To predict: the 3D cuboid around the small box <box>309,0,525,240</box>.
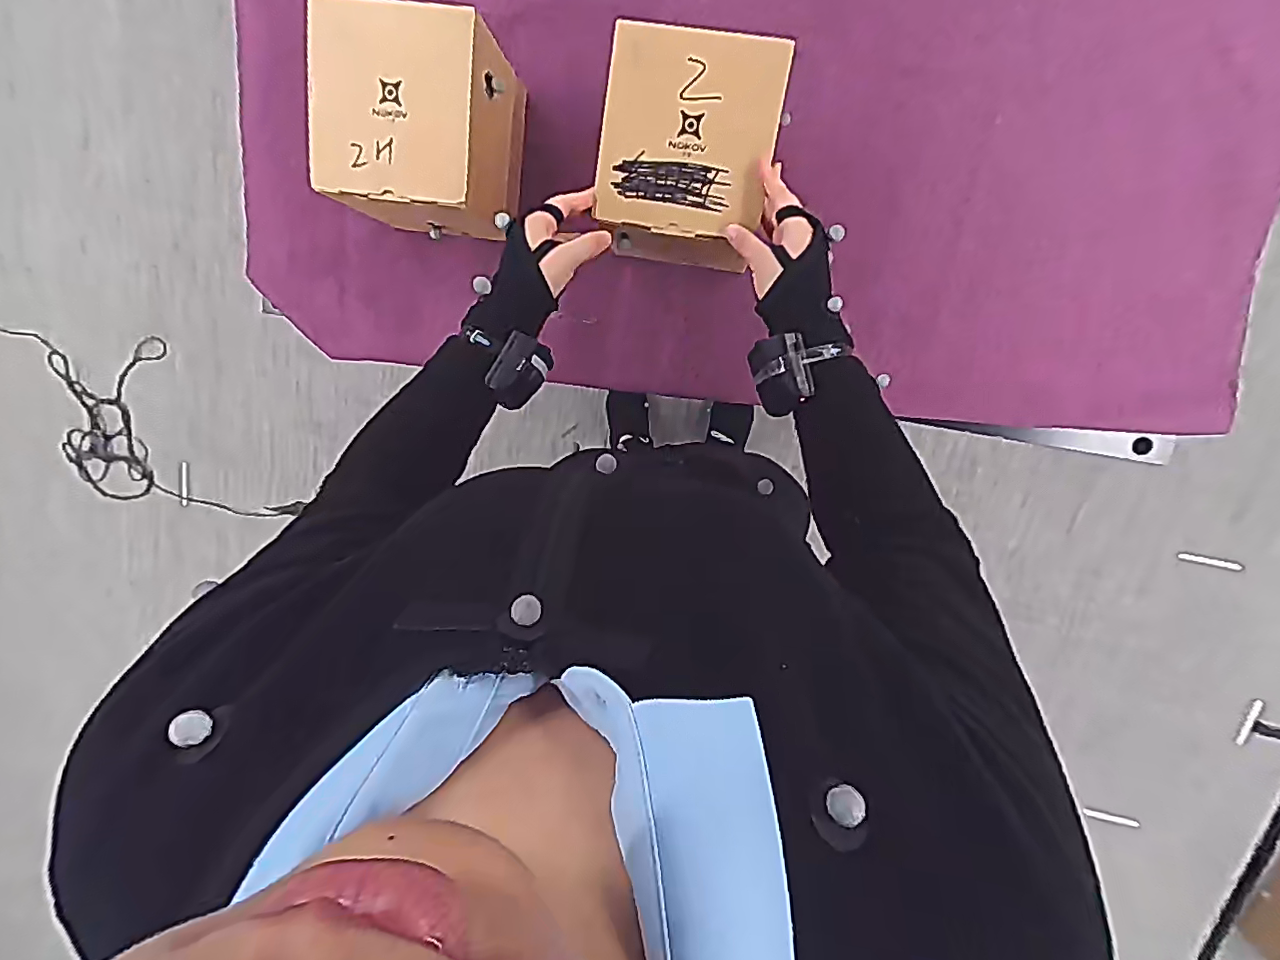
[{"bbox_3d":[-0.232,-0.384,0.597,0.168,0.176,0.179,8,103,3],"label":"small box"}]
